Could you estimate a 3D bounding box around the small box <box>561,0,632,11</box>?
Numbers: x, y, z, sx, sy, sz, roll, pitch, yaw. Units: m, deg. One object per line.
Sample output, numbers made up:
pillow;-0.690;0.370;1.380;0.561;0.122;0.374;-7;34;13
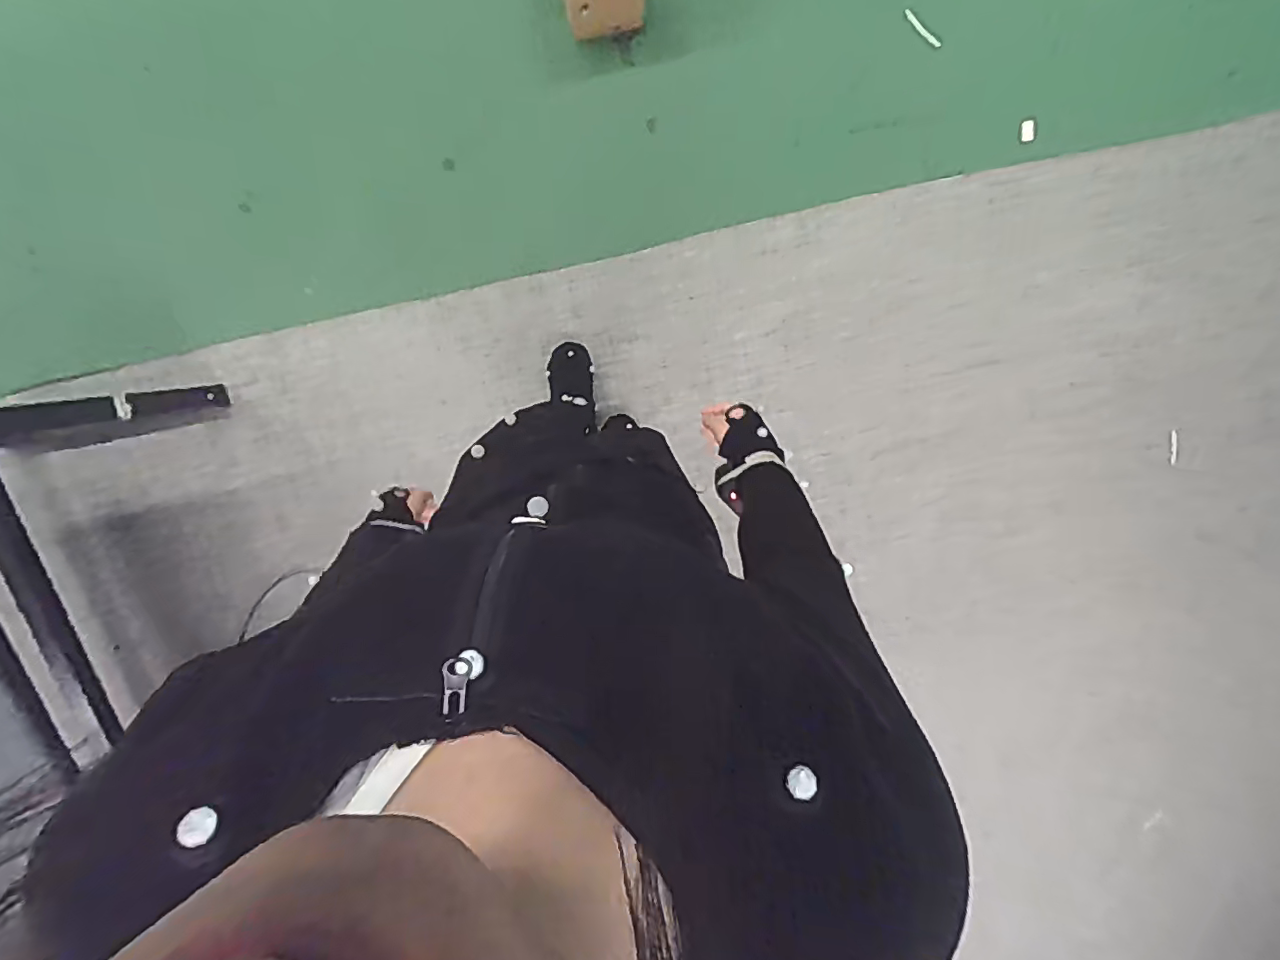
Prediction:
small box;-0.089;-1.040;1.012;0.168;0.176;0.179;-14;103;-4
